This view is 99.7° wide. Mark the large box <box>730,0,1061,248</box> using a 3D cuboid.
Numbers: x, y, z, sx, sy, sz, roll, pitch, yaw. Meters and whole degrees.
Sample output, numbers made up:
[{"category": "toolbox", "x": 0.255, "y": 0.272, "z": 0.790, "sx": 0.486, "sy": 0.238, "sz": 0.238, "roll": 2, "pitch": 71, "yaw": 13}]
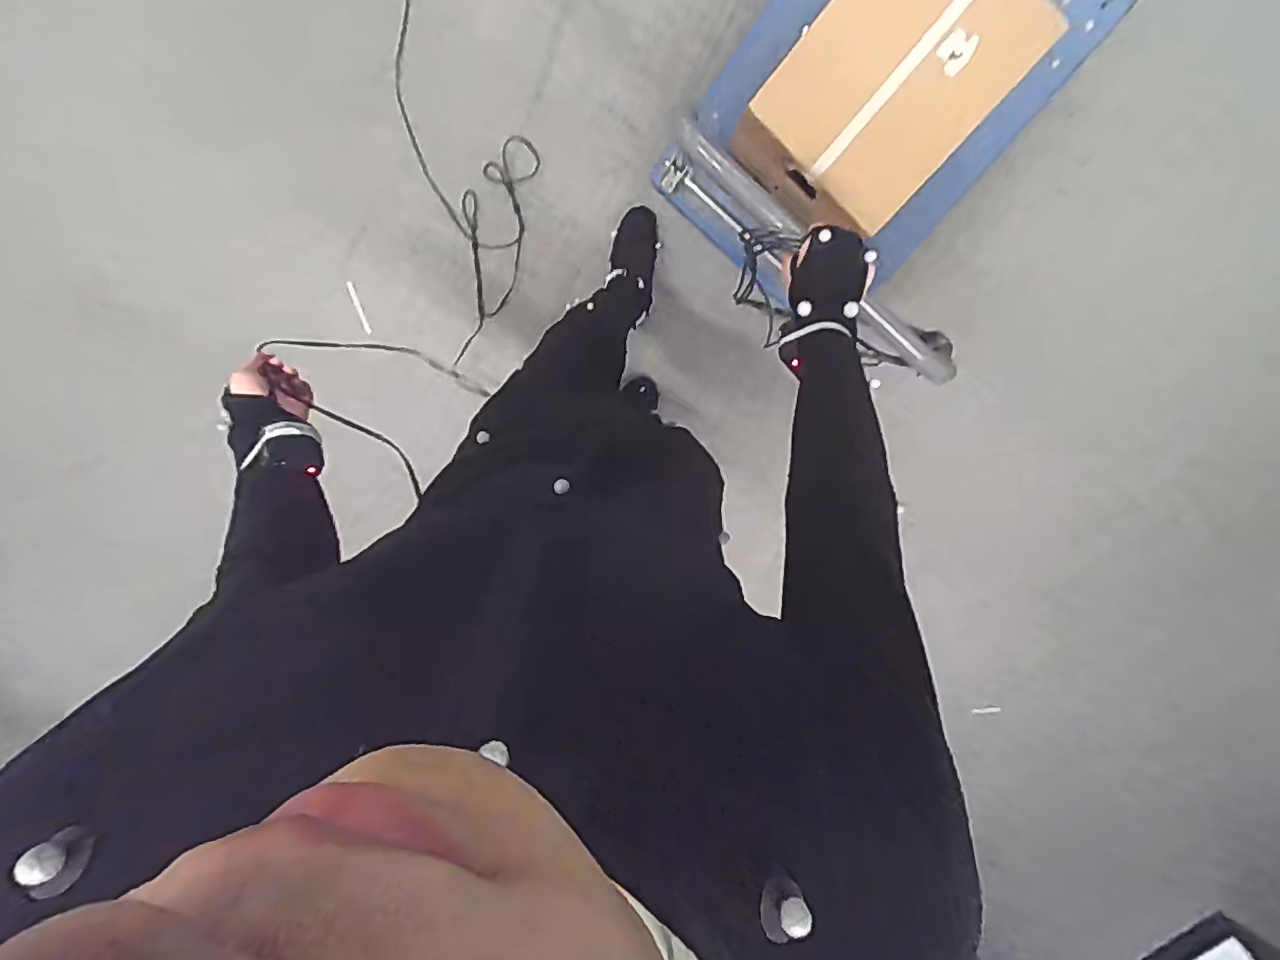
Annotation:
[{"category": "large box", "x": 0.426, "y": -0.709, "z": 1.011, "sx": 0.320, "sy": 0.320, "sz": 0.408, "roll": 40, "pitch": 106, "yaw": -13}]
